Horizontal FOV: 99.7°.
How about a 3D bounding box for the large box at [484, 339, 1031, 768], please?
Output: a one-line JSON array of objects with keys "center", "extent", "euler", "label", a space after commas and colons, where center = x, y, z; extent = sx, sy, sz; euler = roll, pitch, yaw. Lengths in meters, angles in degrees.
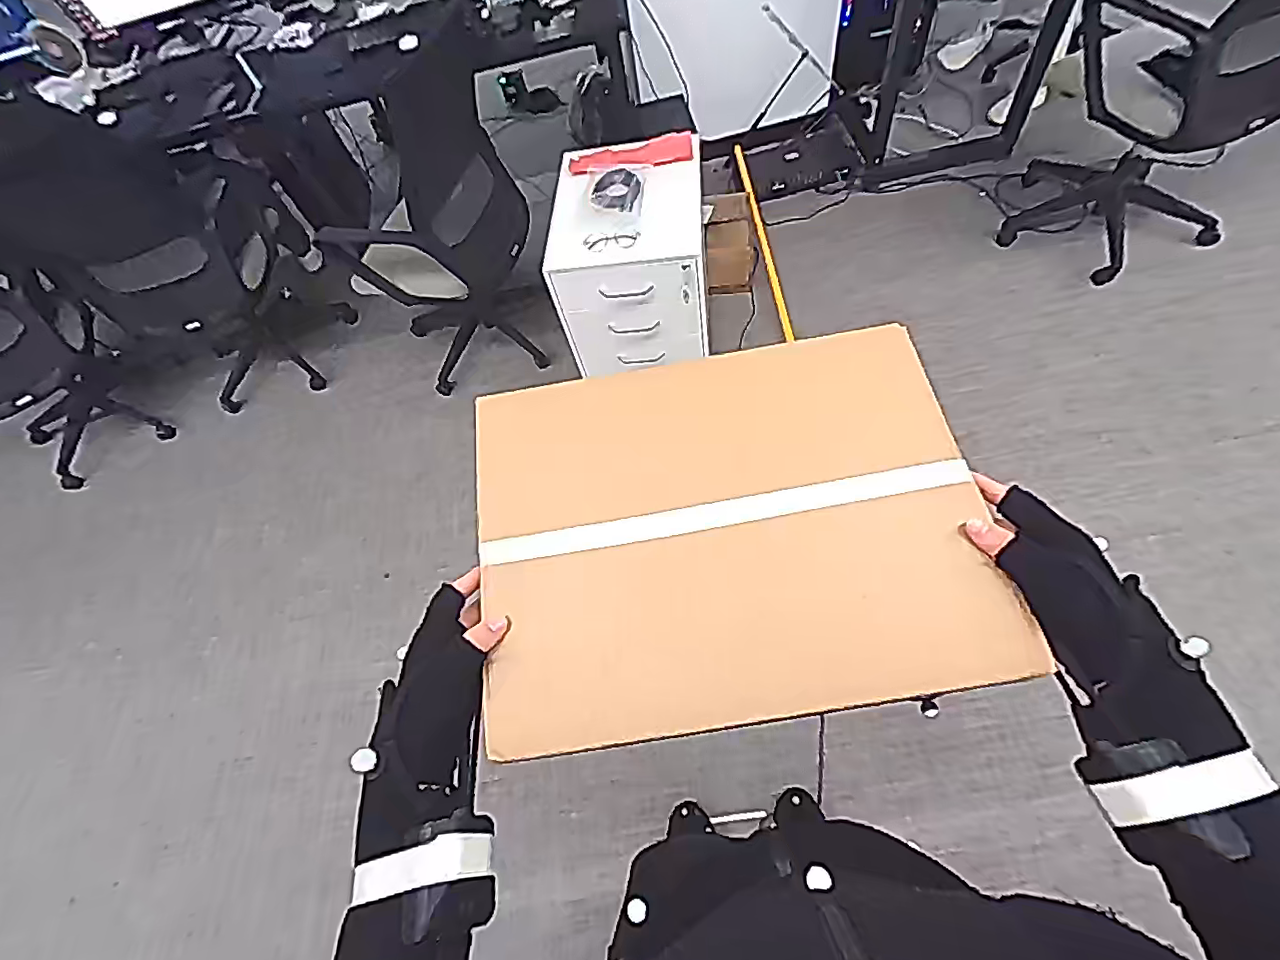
[{"center": [0.083, 0.096, 0.589], "extent": [0.408, 0.320, 0.320], "euler": [-10, 65, 1], "label": "large box"}]
